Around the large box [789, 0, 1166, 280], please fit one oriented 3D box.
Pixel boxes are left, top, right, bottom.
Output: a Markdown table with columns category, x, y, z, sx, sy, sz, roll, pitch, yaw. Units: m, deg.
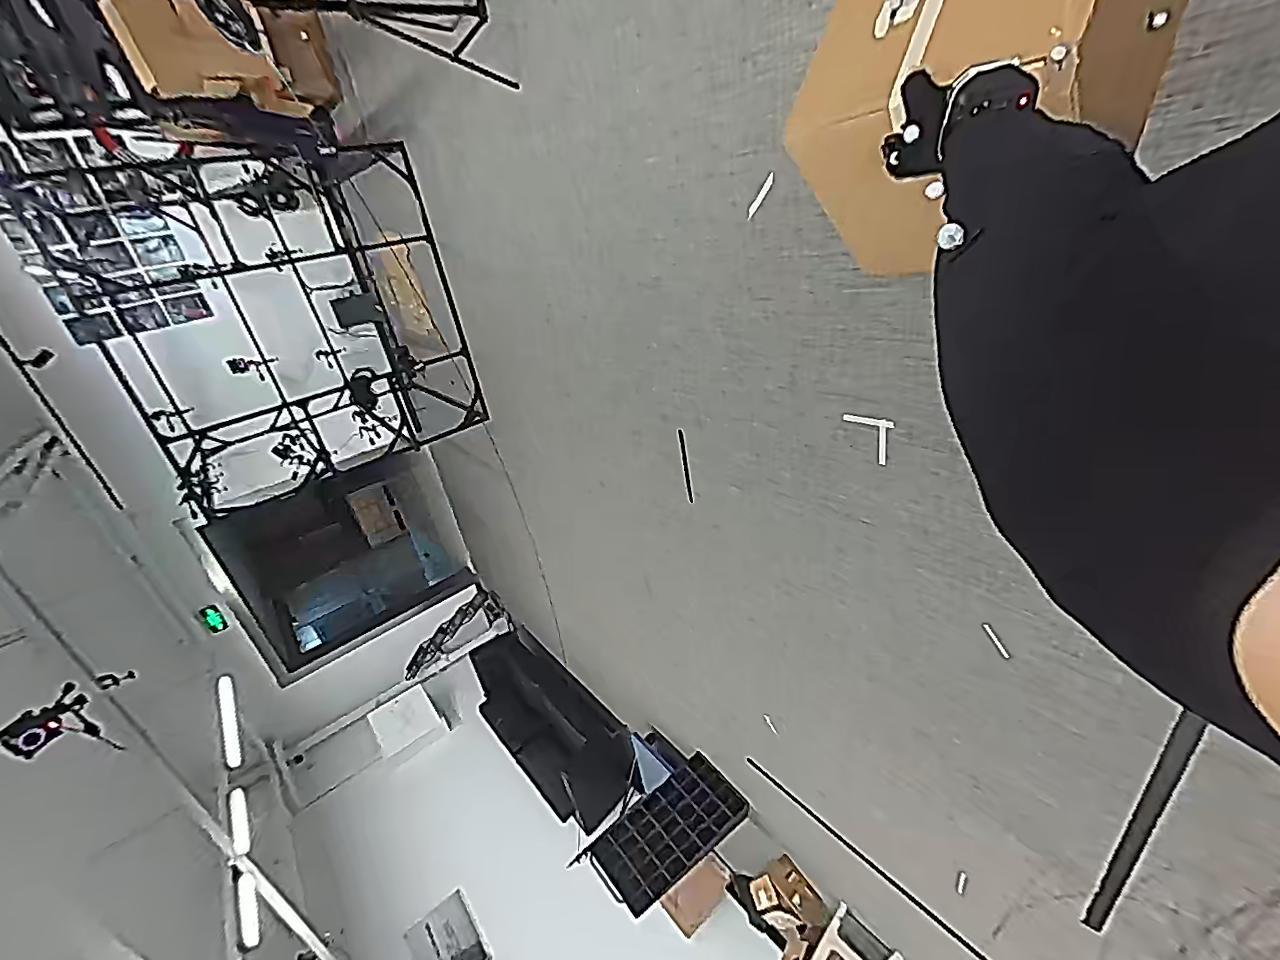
| category | x | y | z | sx | sy | sz | roll | pitch | yaw |
| --- | --- | --- | --- | --- | --- | --- | --- | --- | --- |
| large box | 0.463 | -0.542 | 0.731 | 0.320 | 0.320 | 0.408 | 16 | 83 | 47 |
